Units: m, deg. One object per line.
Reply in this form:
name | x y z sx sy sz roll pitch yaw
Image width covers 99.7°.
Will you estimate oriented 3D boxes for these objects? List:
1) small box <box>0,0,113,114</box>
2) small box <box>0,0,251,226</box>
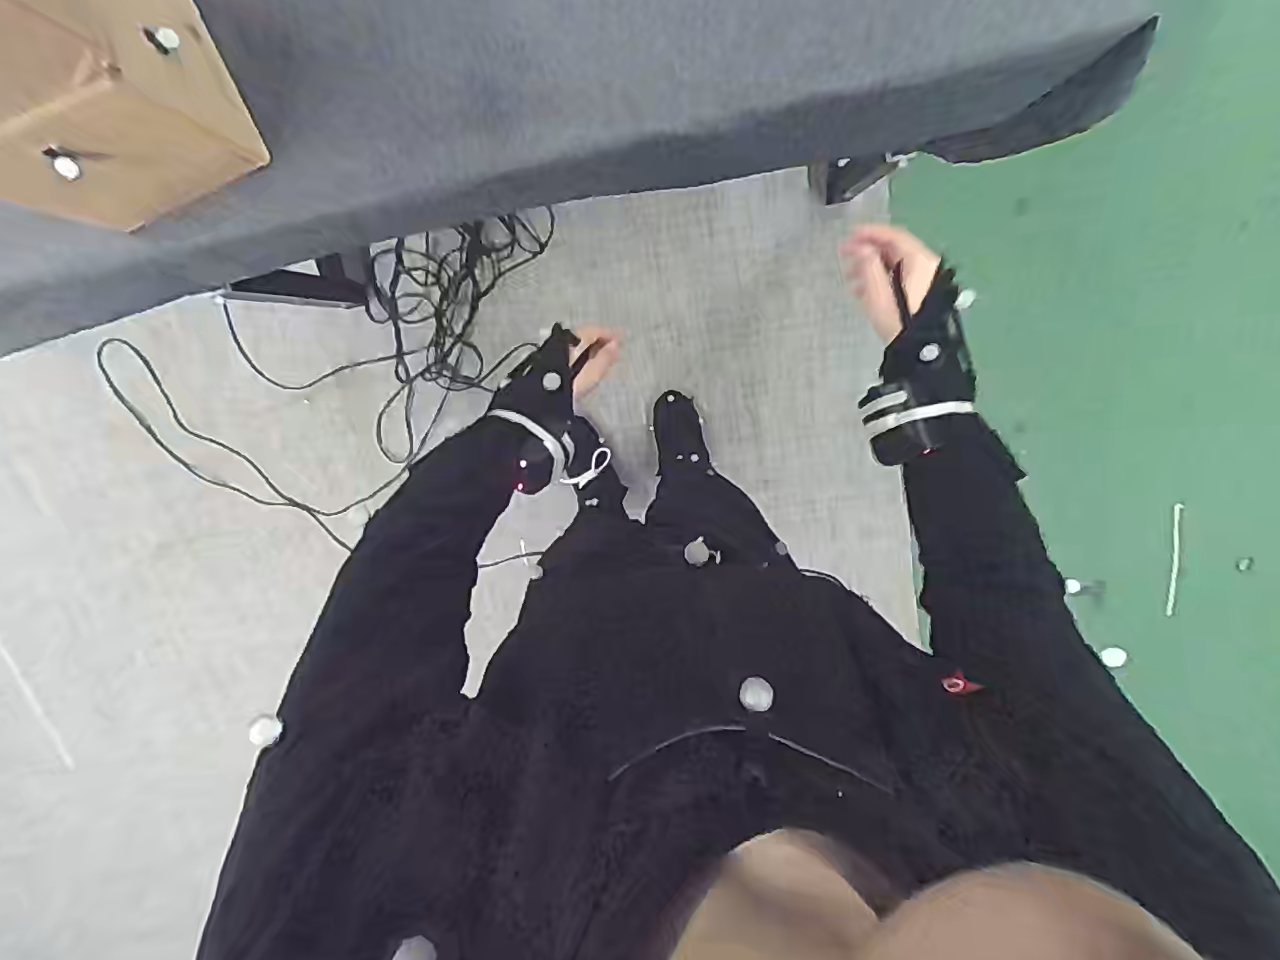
small box | -0.455 -0.305 0.278 0.179 0.176 0.168 -21 103 5
small box | -0.466 -0.333 0.438 0.179 0.176 0.168 -21 102 6
